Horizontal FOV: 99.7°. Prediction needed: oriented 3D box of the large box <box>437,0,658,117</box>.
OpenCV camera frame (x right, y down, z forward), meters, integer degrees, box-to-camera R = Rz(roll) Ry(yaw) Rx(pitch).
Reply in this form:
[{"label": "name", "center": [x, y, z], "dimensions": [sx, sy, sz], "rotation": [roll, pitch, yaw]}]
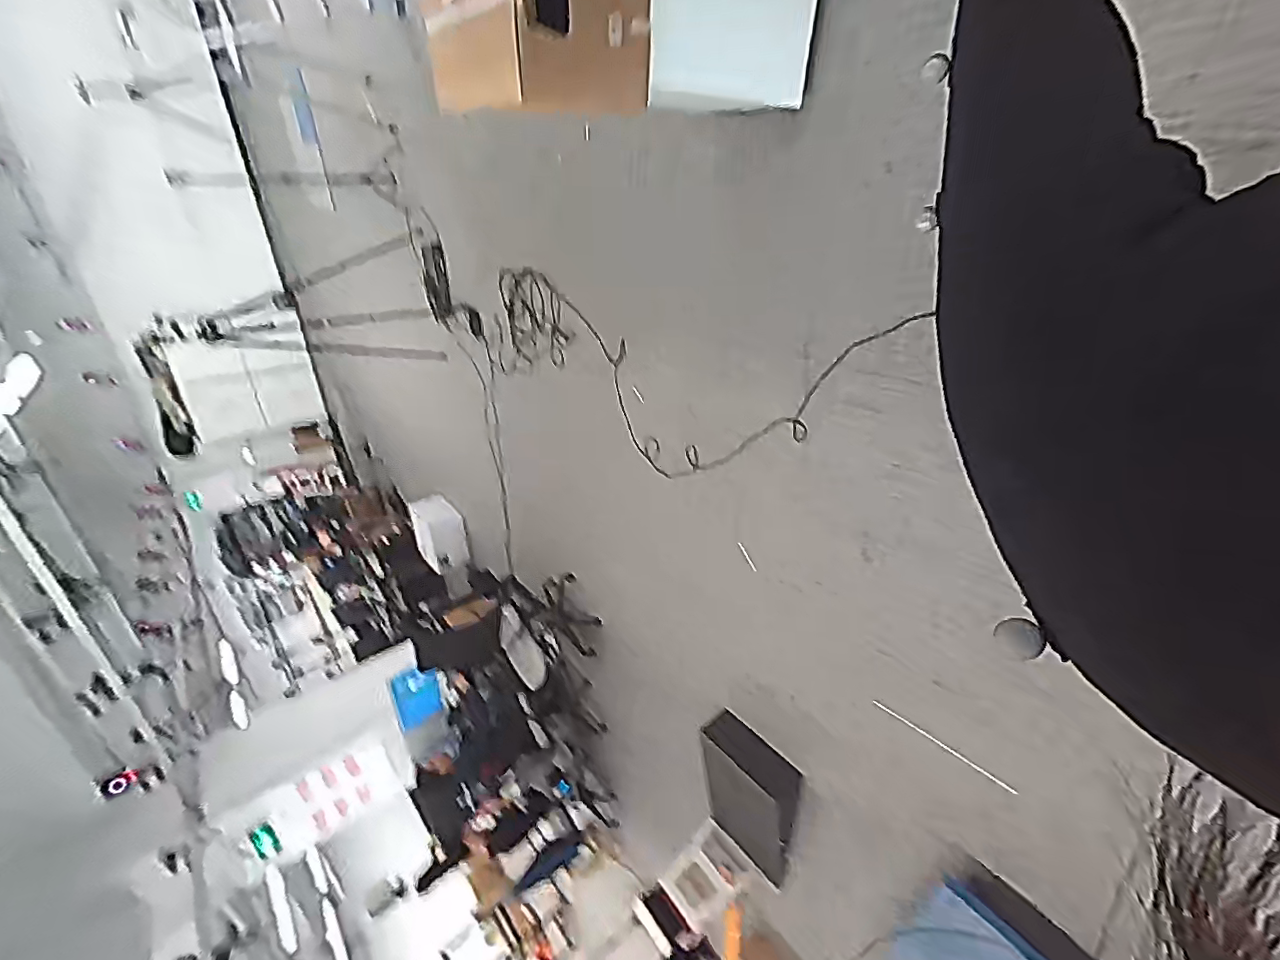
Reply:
[{"label": "large box", "center": [-0.200, -0.977, 1.155], "dimensions": [0.408, 0.320, 0.320], "rotation": [33, 132, 42]}]
